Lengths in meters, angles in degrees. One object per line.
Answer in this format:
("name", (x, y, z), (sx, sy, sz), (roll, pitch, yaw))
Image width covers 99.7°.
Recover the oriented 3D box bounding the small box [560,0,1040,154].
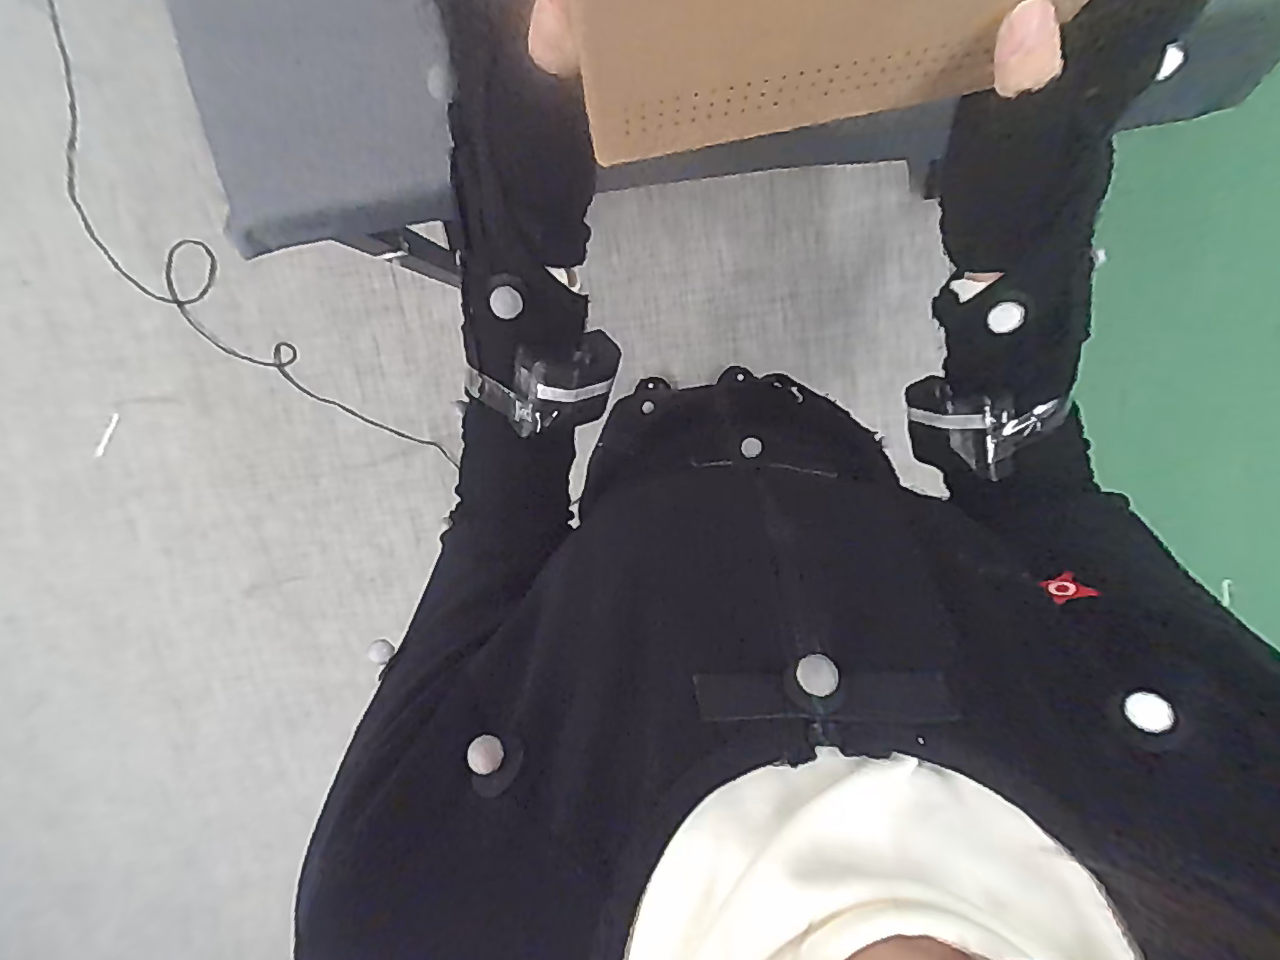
("small box", (0.049, -0.233, 0.151), (0.179, 0.176, 0.168), (-12, 86, 1))
